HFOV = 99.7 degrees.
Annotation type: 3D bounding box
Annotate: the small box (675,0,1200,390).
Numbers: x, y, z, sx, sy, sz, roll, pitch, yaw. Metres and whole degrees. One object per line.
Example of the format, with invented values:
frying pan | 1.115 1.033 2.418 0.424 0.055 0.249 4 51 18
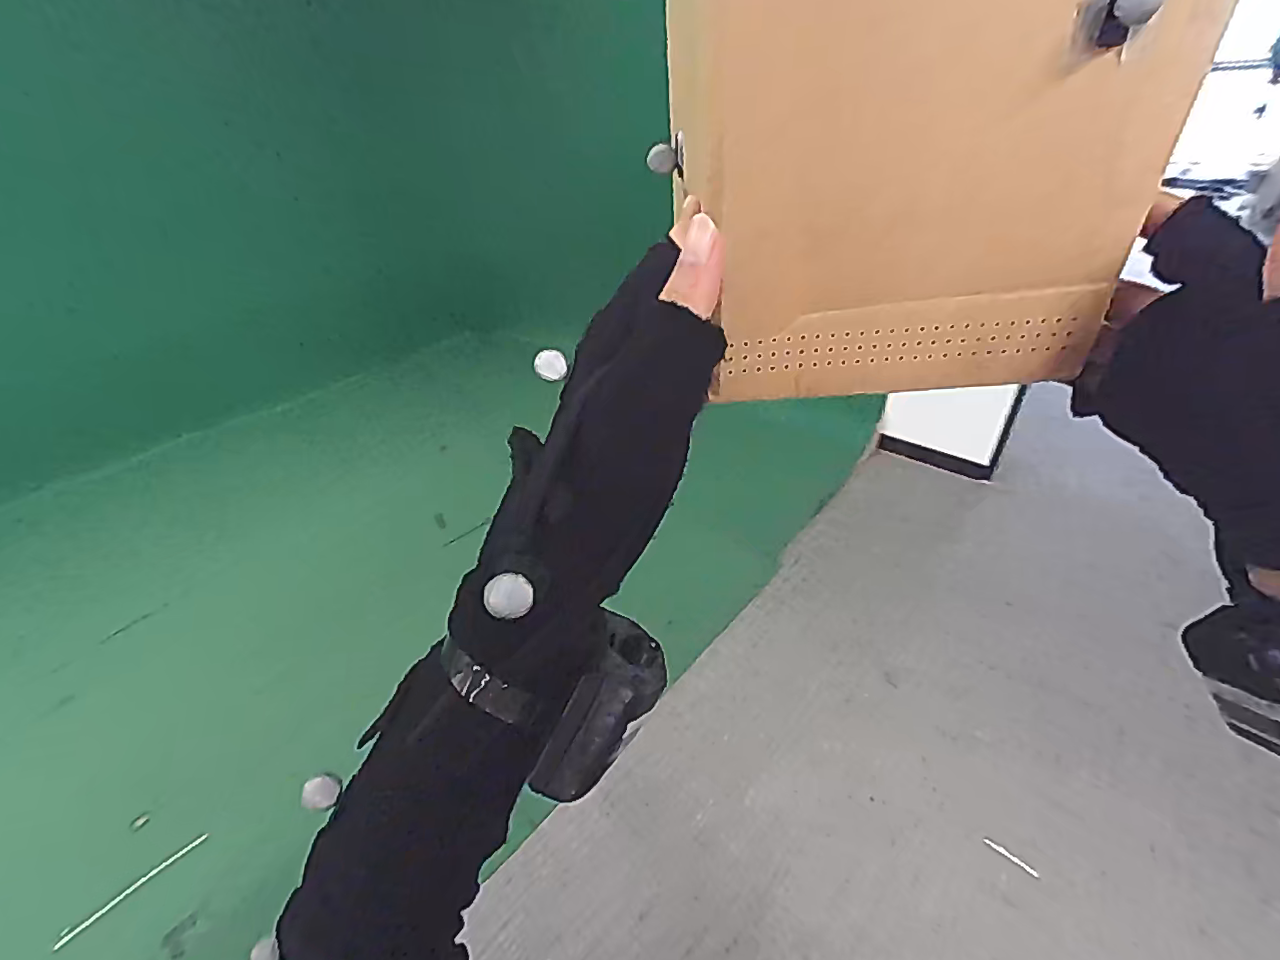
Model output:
small box | 0.112 -0.154 0.276 0.179 0.176 0.168 -3 36 2
